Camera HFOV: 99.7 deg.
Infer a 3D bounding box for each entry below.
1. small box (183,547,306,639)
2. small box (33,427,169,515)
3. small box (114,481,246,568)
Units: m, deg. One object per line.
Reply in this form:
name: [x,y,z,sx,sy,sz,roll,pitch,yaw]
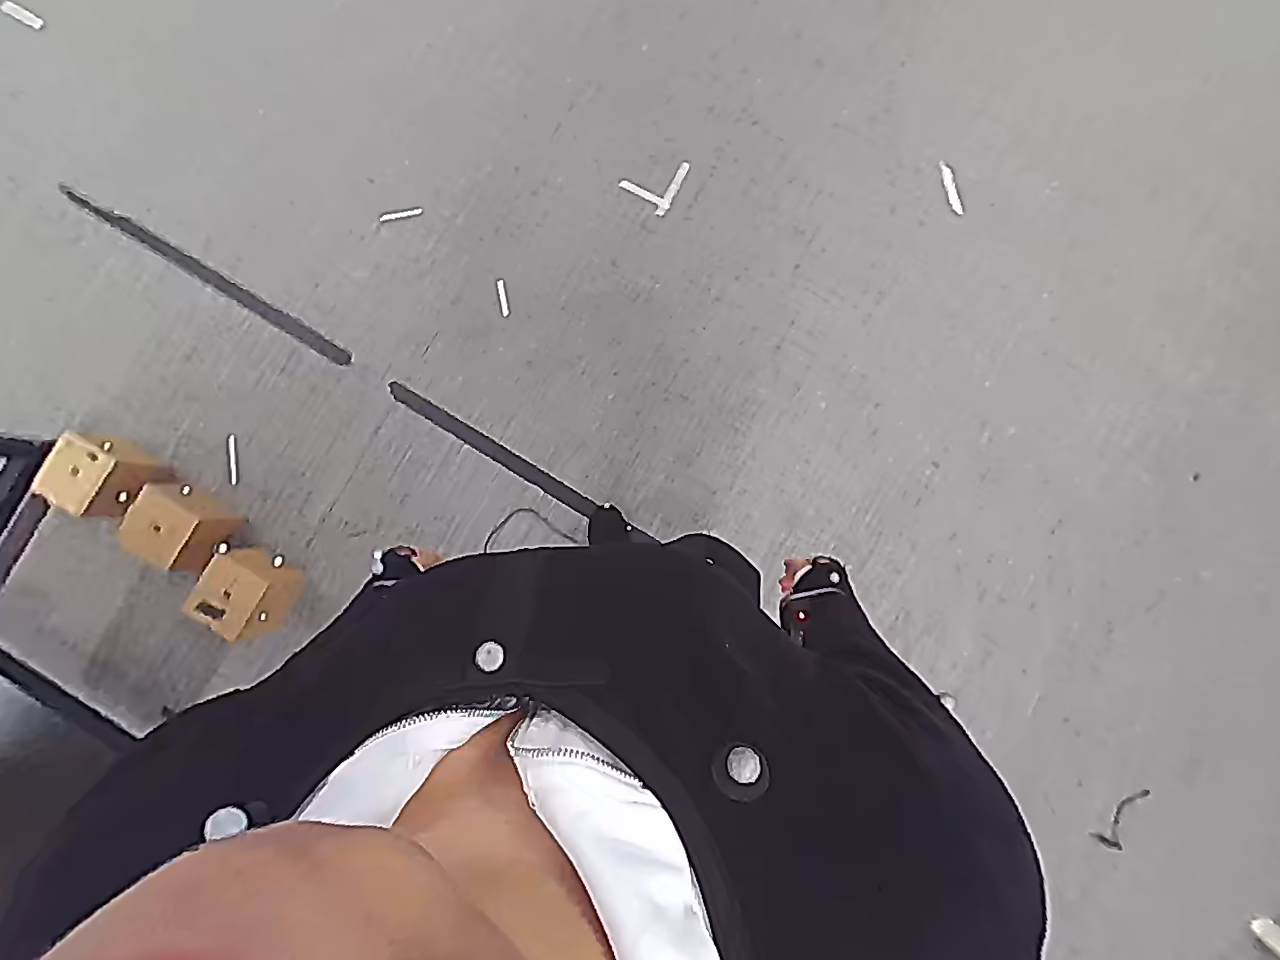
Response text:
small box: [-1.045,0.294,1.446,0.168,0.176,0.179,30,87,3]
small box: [-1.457,-0.020,1.476,0.168,0.176,0.179,30,88,2]
small box: [-1.234,0.119,1.463,0.179,0.176,0.168,30,89,3]
